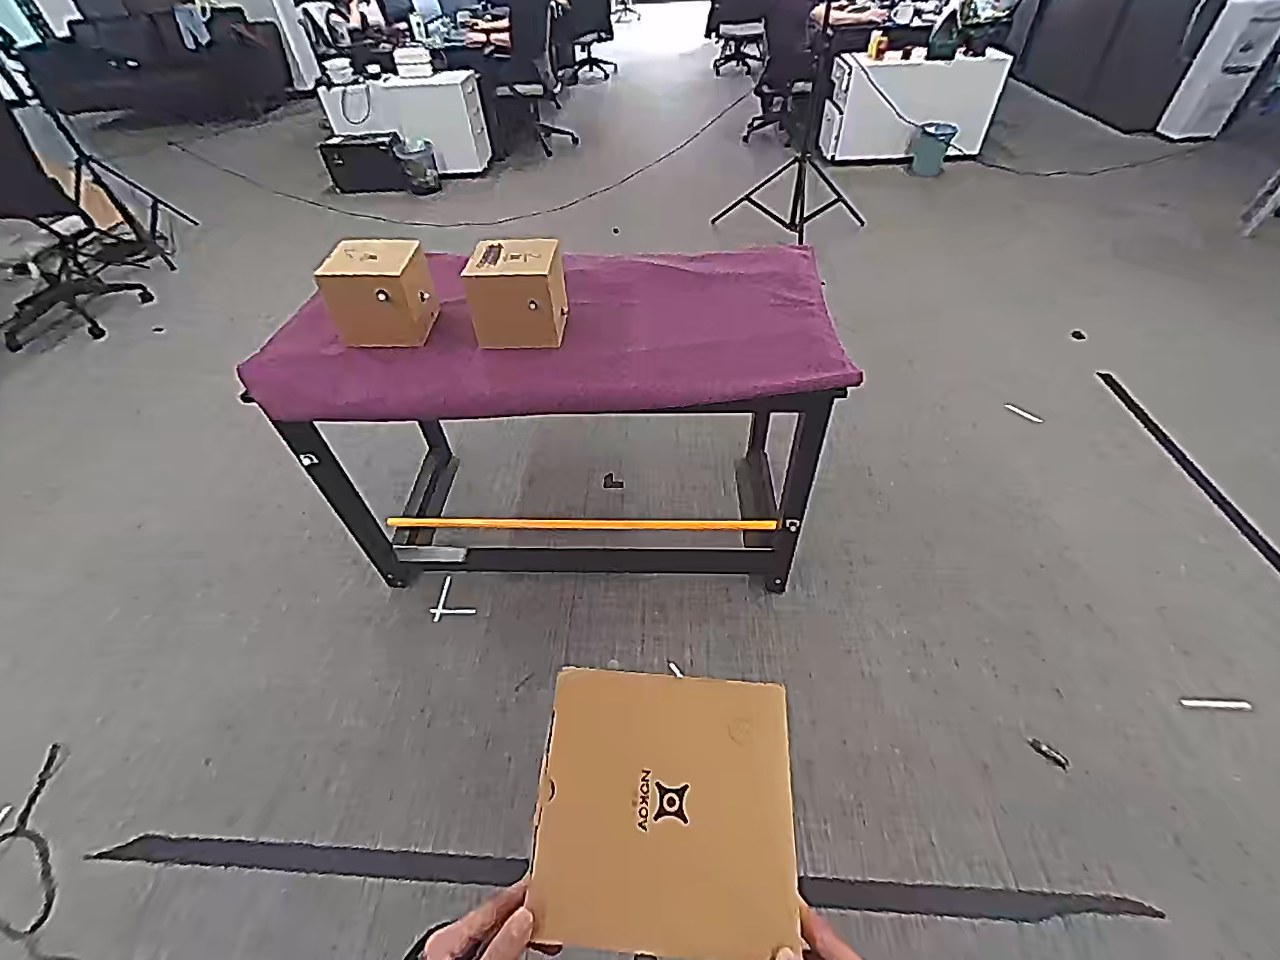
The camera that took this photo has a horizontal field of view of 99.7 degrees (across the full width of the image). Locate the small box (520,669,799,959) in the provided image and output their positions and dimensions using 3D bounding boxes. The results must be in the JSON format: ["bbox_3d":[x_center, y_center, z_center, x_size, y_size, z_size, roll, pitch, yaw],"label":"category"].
[{"bbox_3d":[0.021,0.263,0.442,0.179,0.176,0.168,2,58,5],"label":"small box"}]

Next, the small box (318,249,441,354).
[{"bbox_3d":[-0.560,-0.392,1.196,0.179,0.176,0.168,0,46,0],"label":"small box"}]
